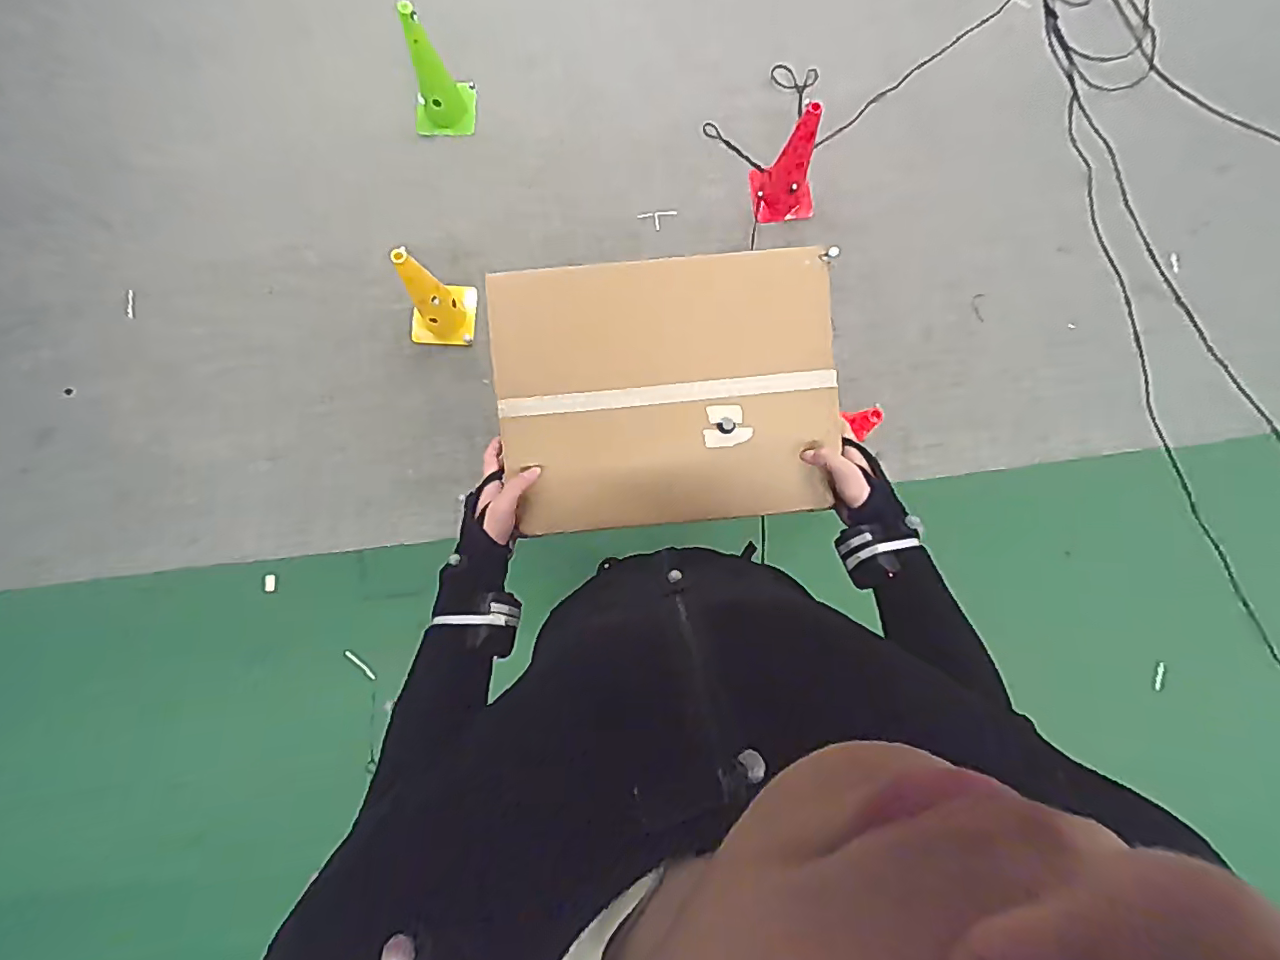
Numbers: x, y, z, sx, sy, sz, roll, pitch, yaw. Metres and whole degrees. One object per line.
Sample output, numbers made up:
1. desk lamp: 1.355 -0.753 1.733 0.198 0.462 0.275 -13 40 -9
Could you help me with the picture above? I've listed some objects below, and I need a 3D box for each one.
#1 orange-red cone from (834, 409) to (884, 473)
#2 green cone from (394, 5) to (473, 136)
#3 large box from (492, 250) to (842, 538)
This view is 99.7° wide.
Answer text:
1. orange-red cone: 0.597 -0.142 1.537 0.199 0.360 0.198 0 83 -2
2. green cone: -0.673 -1.296 1.687 0.200 0.368 0.202 -1 83 0
3. large box: 0.031 -0.110 0.802 0.408 0.320 0.320 -6 94 -1
